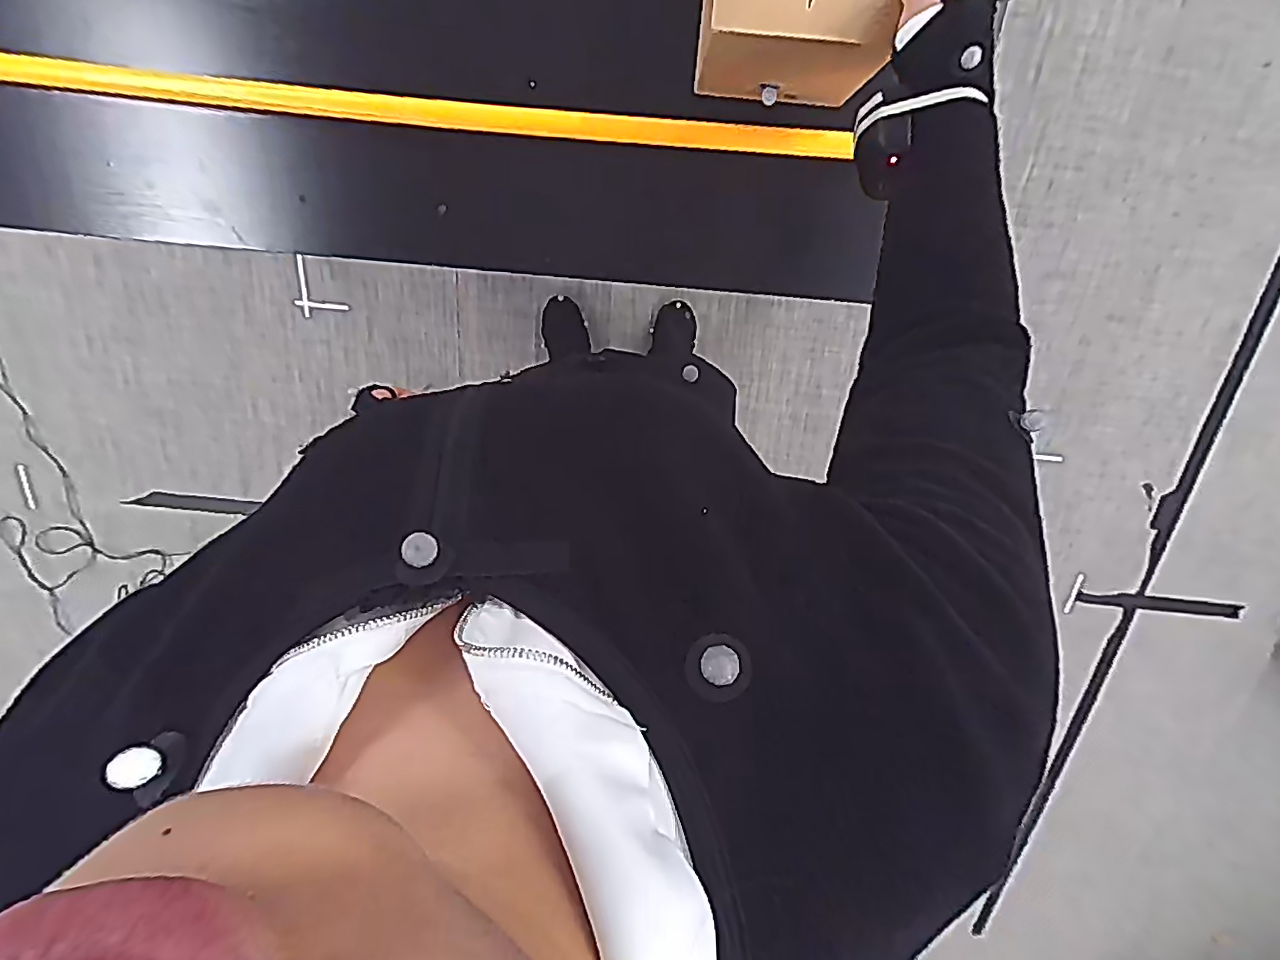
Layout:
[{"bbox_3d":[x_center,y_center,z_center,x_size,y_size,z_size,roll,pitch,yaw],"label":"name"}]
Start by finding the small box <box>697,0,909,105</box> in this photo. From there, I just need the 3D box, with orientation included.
[{"bbox_3d":[0.148,-0.484,0.504,0.168,0.176,0.179,5,111,-1],"label":"small box"}]
